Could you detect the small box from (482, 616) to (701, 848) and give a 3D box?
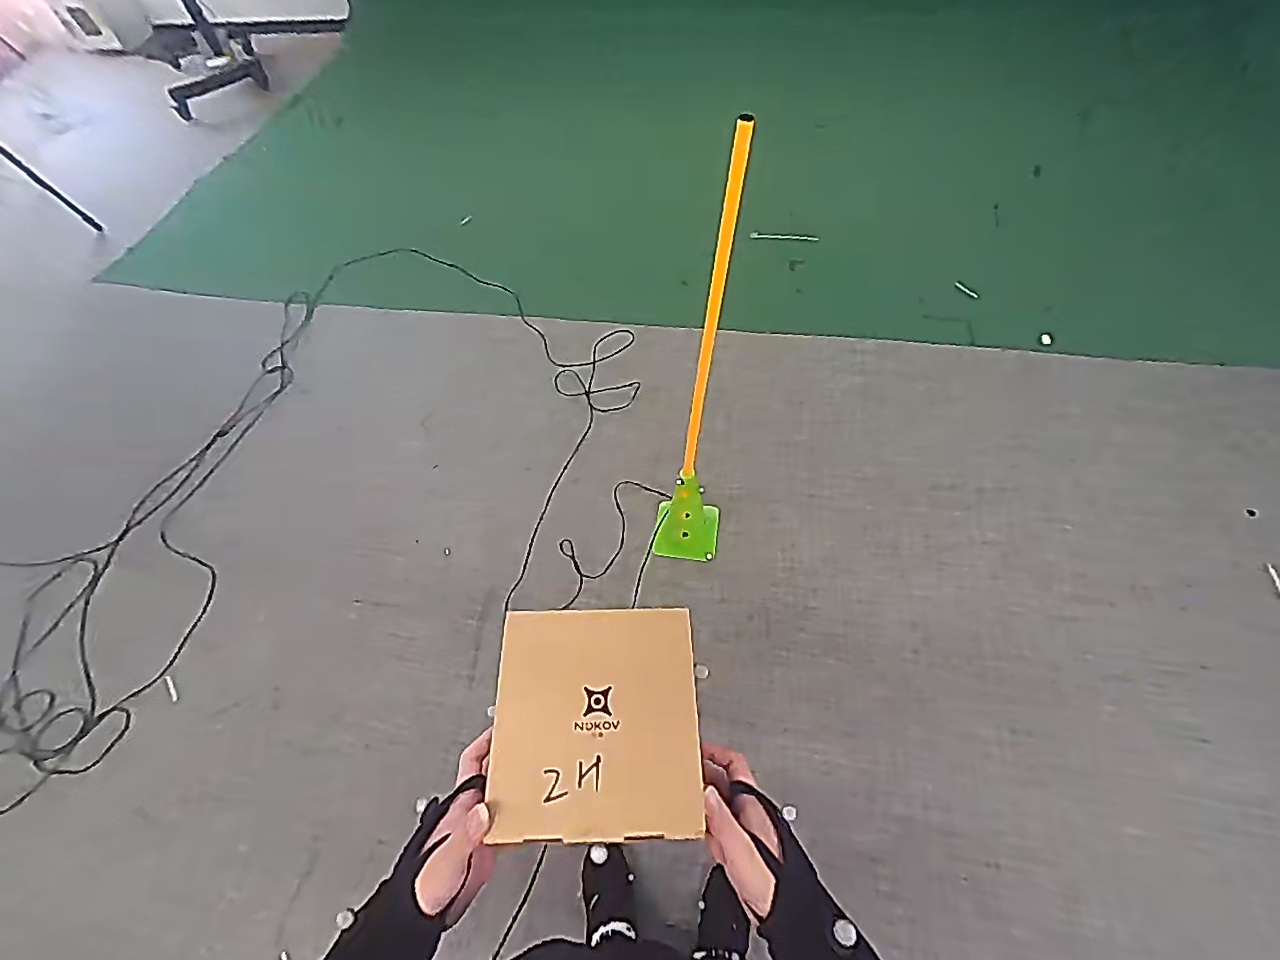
[{"bbox_3d":[-0.037,0.241,0.511,0.168,0.176,0.179,0,57,-1],"label":"small box"}]

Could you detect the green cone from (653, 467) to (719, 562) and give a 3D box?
[{"bbox_3d":[0.139,0.075,1.620,0.202,0.368,0.200,6,58,9],"label":"green cone"}]
